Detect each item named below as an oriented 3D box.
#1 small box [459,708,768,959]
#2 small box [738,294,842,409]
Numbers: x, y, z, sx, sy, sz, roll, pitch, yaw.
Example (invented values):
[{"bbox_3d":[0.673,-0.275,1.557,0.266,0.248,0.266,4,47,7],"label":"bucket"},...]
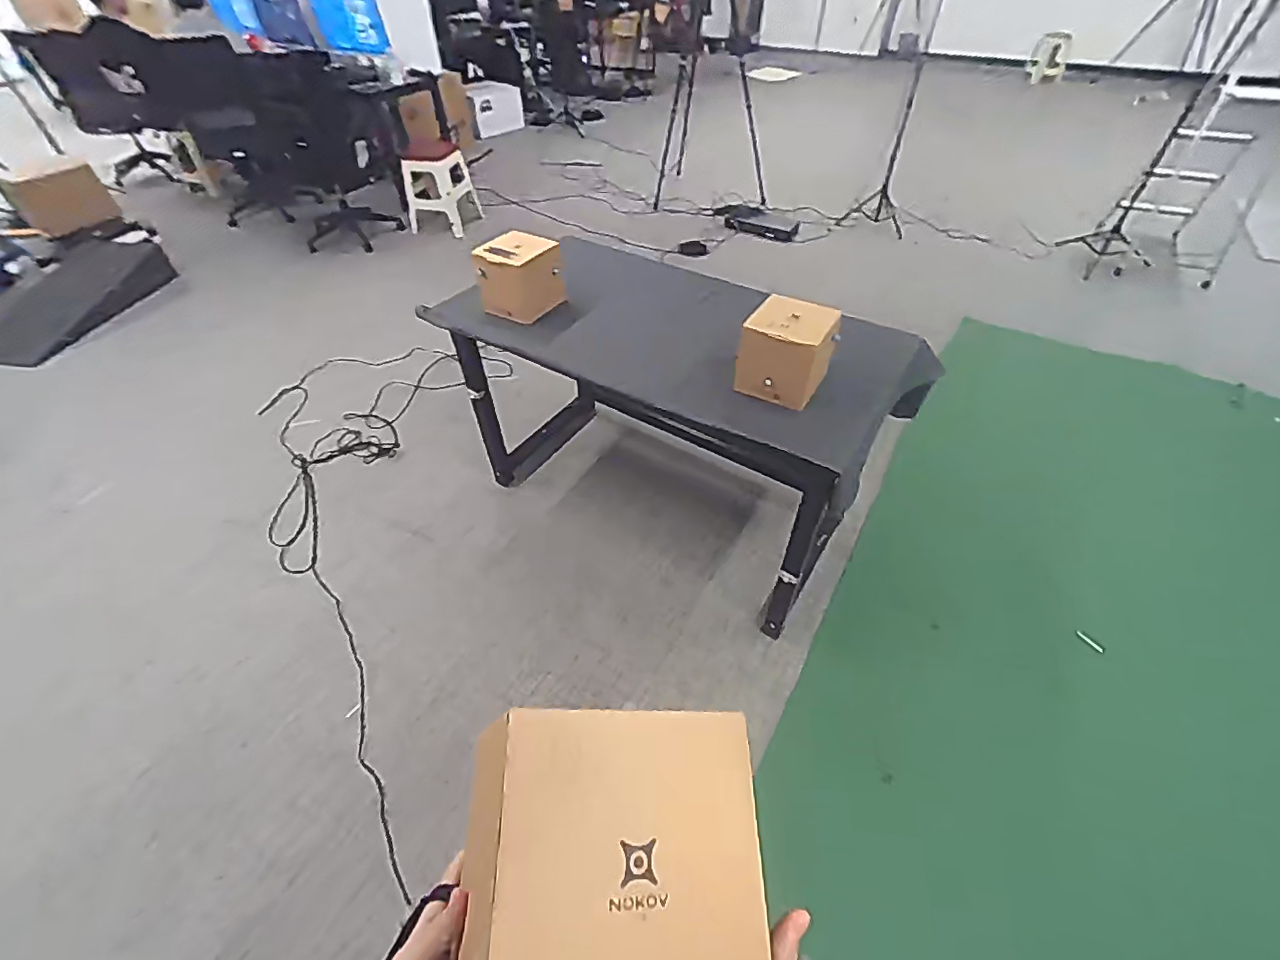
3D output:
[{"bbox_3d":[-0.031,0.266,0.384,0.168,0.176,0.179,8,61,-19],"label":"small box"},{"bbox_3d":[0.333,-0.292,1.226,0.168,0.176,0.179,23,51,23],"label":"small box"}]
